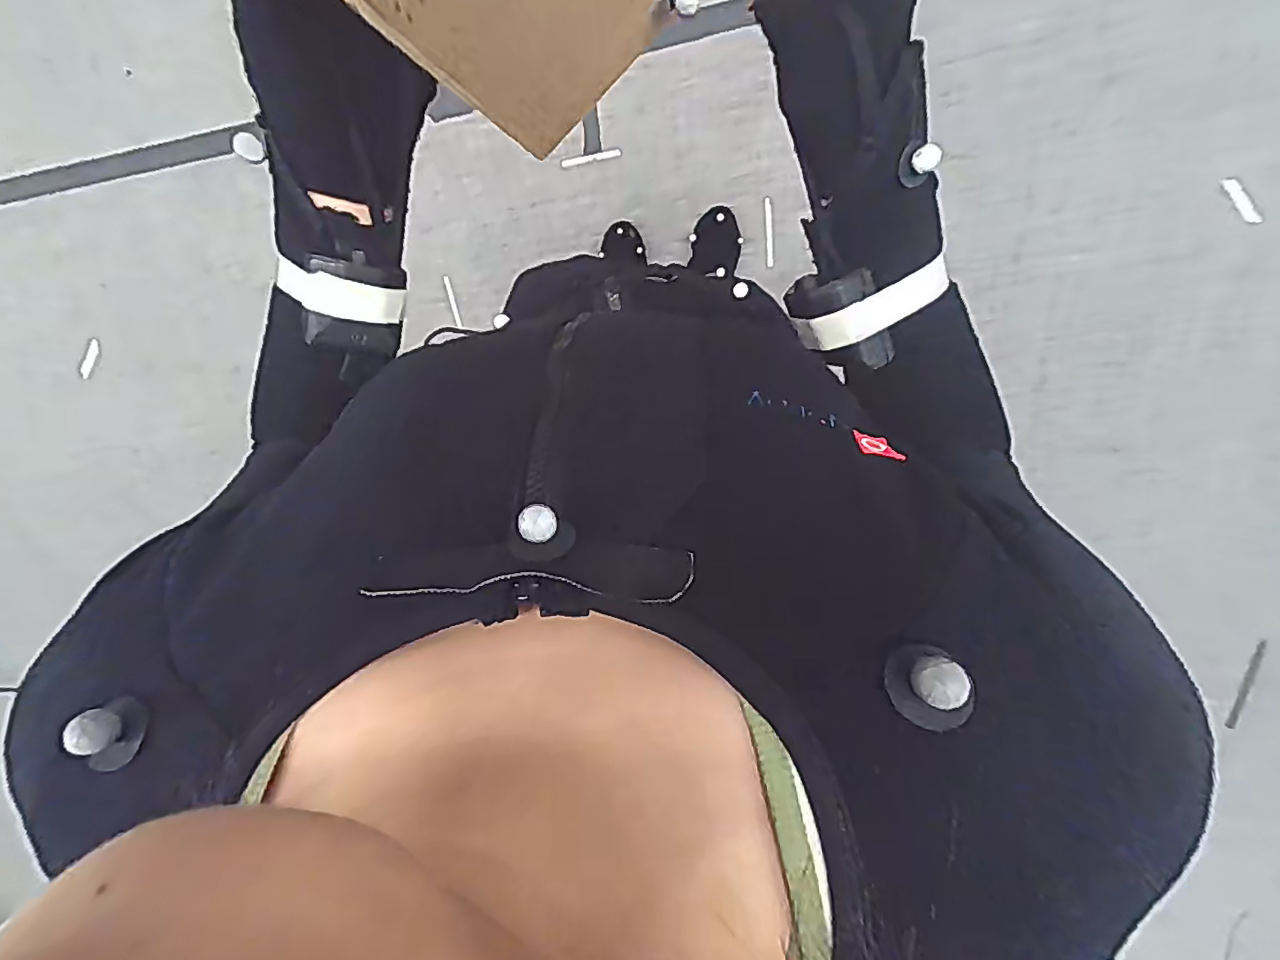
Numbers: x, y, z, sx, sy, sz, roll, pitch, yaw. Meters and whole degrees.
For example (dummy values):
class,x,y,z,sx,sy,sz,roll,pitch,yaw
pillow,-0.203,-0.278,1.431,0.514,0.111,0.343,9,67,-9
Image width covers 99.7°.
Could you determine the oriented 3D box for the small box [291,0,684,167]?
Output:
class,x,y,z,sx,sy,sz,roll,pitch,yaw
small box,-0.071,-0.261,0.189,0.168,0.176,0.179,-36,97,19
